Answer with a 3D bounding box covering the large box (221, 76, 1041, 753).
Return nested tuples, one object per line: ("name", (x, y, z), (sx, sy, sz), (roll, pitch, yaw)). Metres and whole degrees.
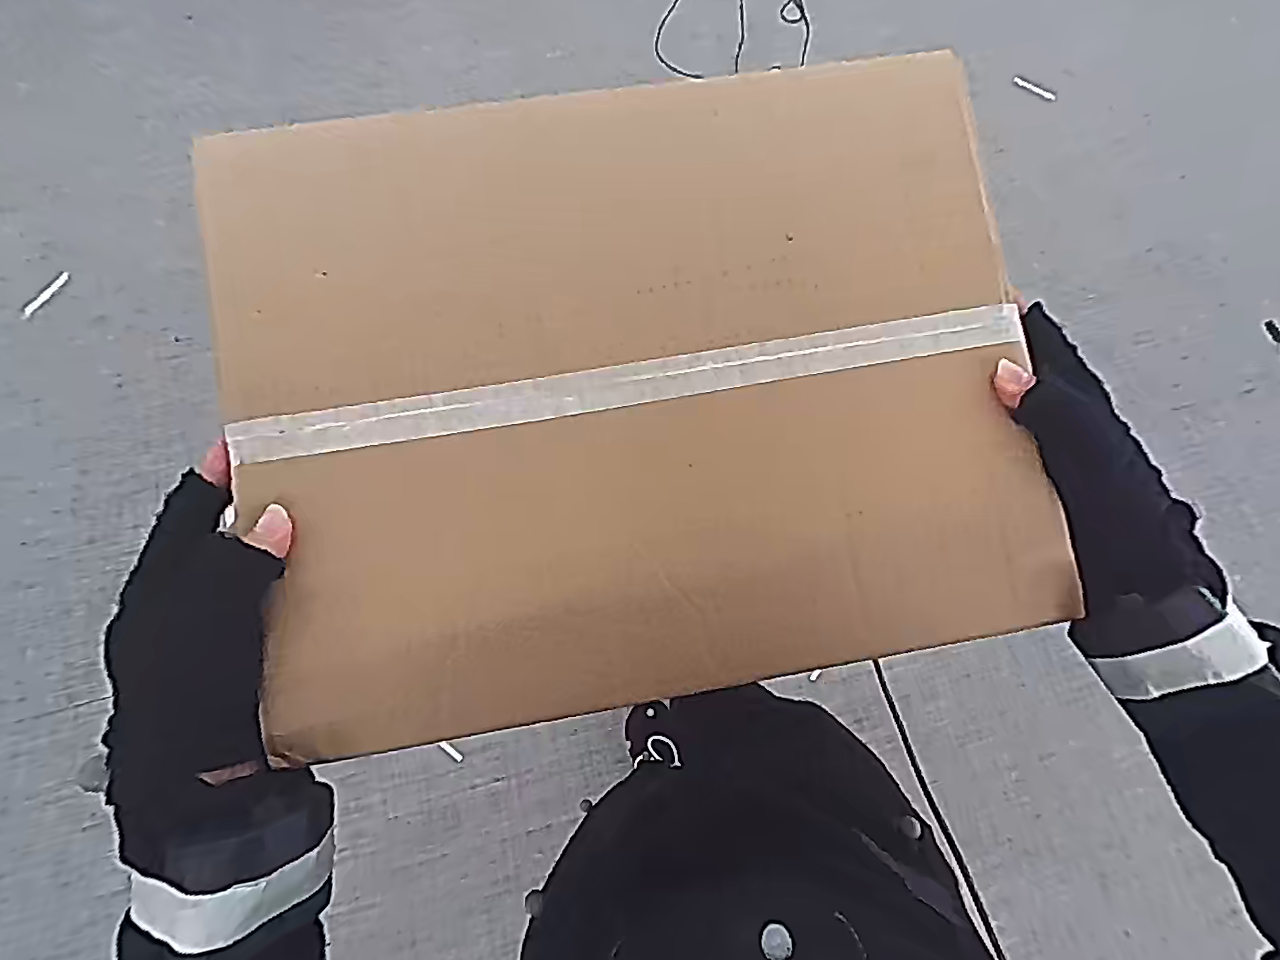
("large box", (-0.008, -0.039, 0.435), (0.408, 0.320, 0.320), (-9, 86, -4))
